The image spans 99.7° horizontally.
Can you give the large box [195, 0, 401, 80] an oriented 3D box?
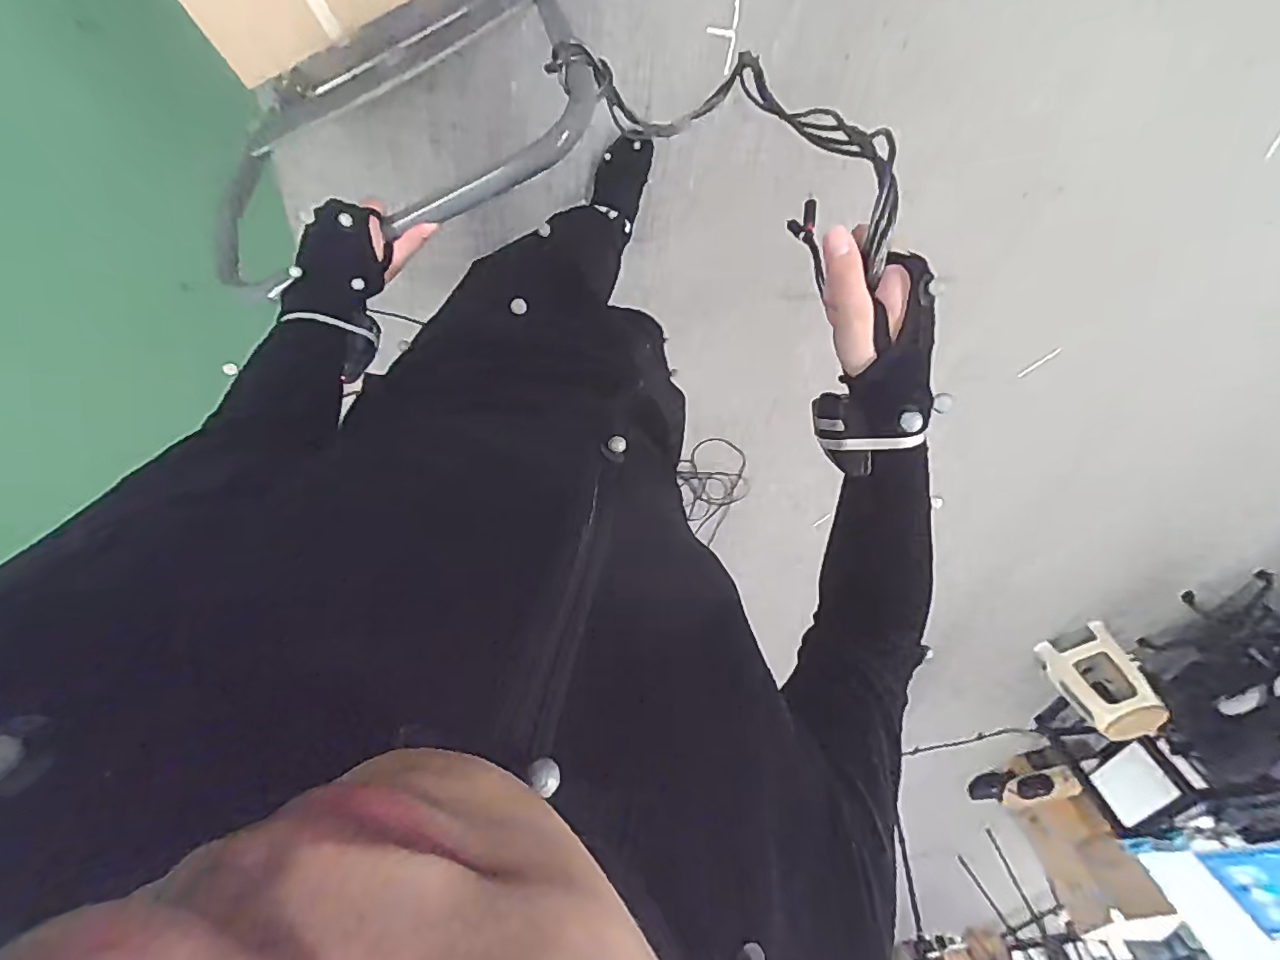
[{"bbox_3d":[-0.497,-0.844,0.701,0.320,0.320,0.408,-21,138,9],"label":"large box"}]
